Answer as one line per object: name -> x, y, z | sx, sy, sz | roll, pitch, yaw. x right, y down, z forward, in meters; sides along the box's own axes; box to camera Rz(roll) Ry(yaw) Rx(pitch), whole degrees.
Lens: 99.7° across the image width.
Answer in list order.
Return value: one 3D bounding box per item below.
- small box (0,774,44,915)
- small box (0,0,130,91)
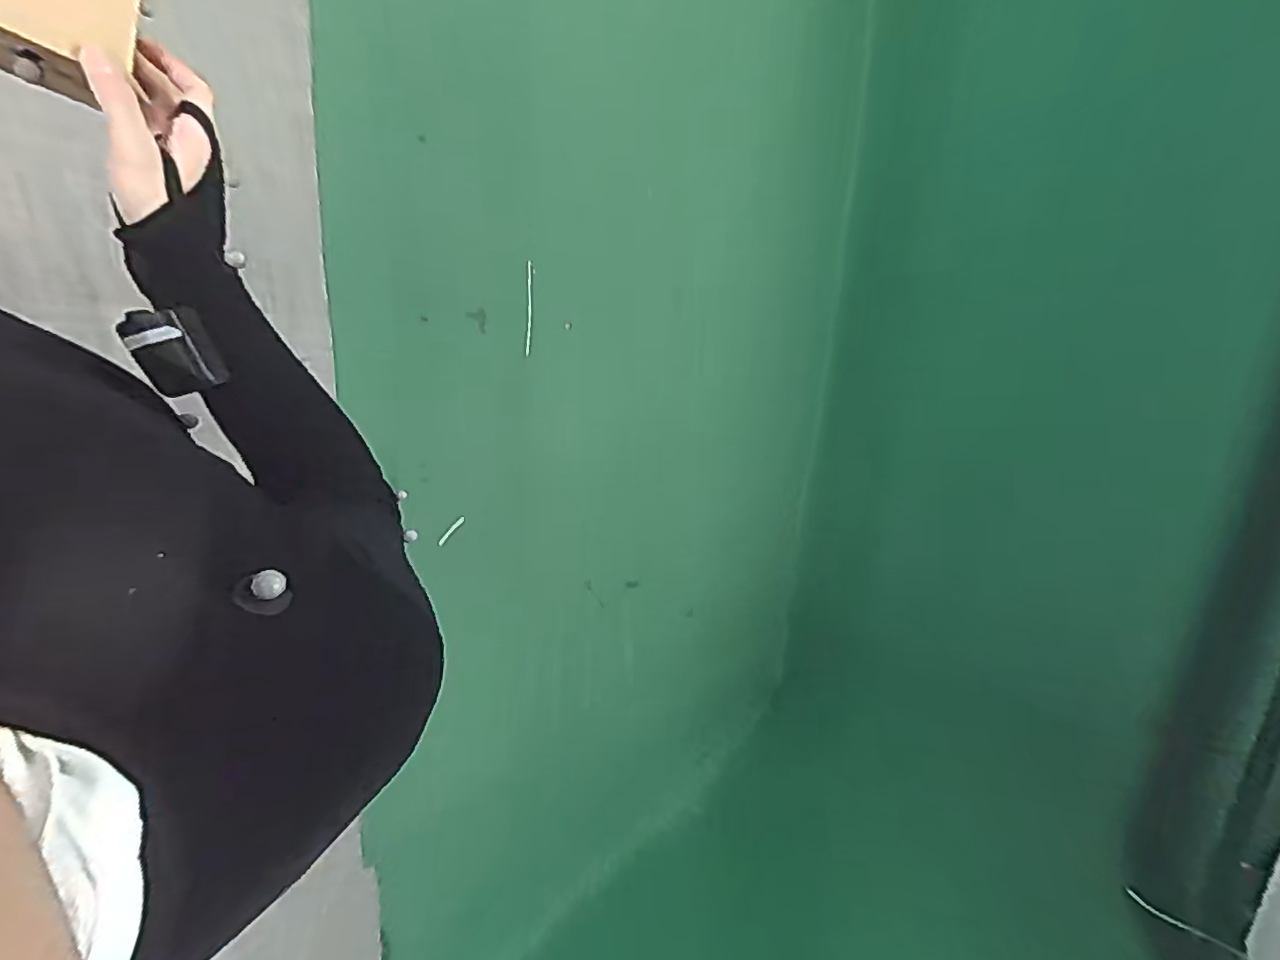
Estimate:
small box -> -1.173, 0.650, 0.940 | 0.168, 0.176, 0.179 | -10, 108, -44
small box -> -0.446, -0.382, 0.339 | 0.179, 0.176, 0.168 | 6, 103, -50
